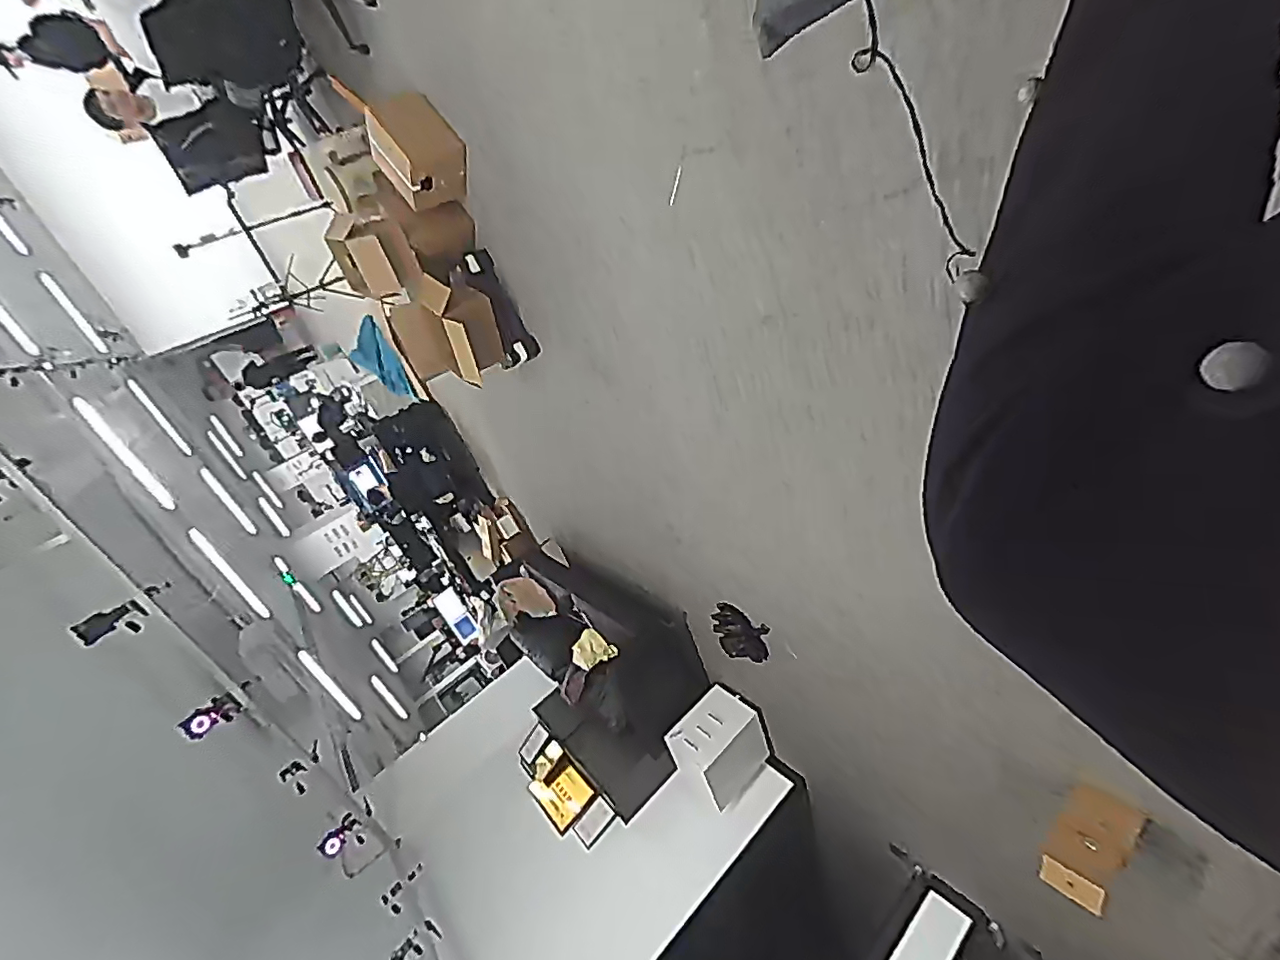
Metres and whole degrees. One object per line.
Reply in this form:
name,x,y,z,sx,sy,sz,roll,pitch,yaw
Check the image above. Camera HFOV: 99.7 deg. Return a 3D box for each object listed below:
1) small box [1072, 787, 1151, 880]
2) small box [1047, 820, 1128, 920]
small box,1.609,1.204,1.853,0.179,0.176,0.168,21,138,49
small box,1.485,1.289,1.795,0.168,0.176,0.179,17,135,49
